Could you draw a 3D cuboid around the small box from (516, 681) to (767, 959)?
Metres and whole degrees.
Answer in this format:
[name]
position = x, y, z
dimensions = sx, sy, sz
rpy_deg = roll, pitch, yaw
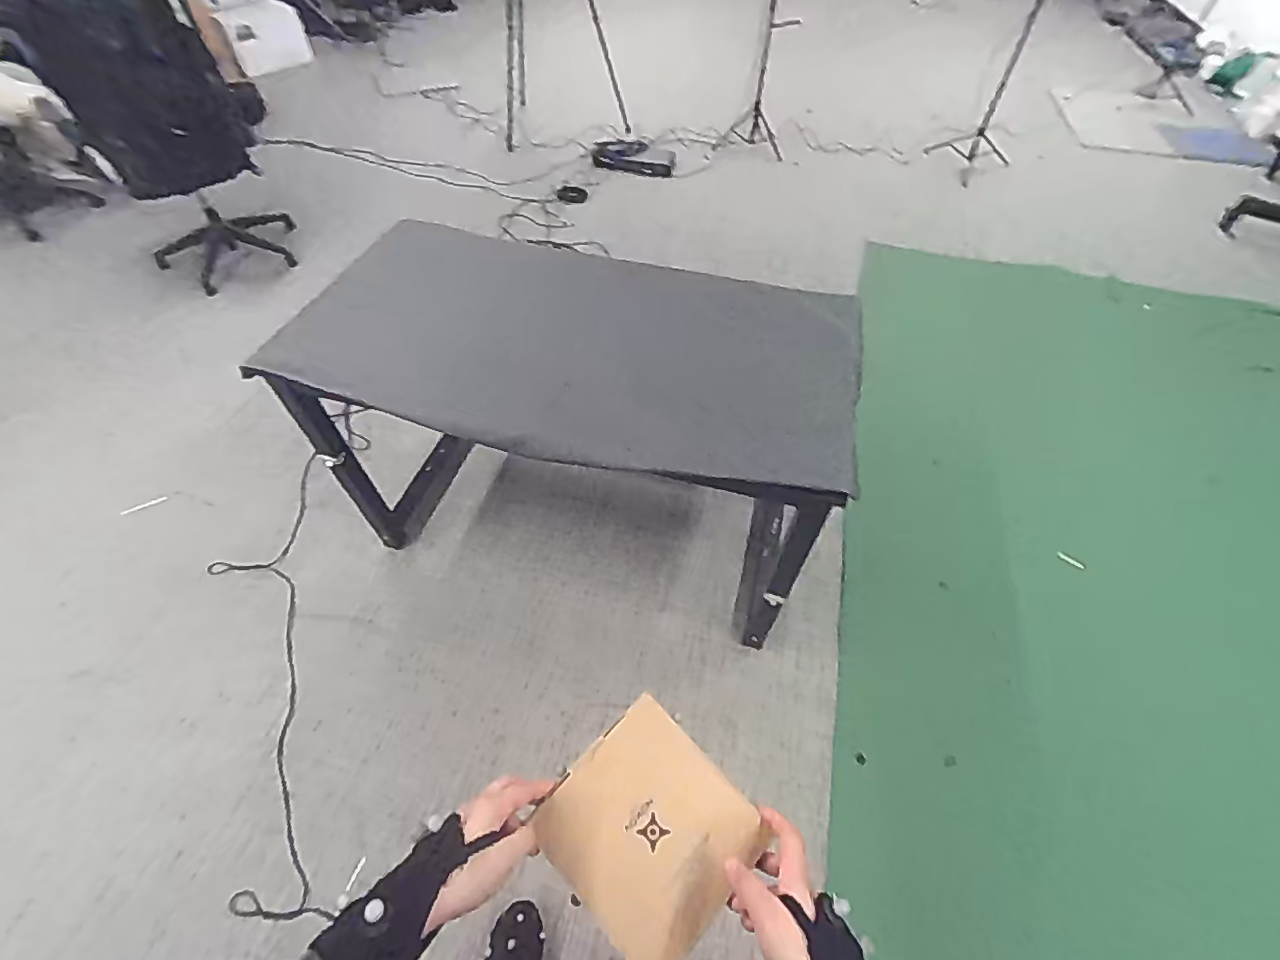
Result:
[small box]
position = -0.001, 0.341, 0.568
dimensions = 0.179, 0.176, 0.168
rpy_deg = 41, 72, 15
